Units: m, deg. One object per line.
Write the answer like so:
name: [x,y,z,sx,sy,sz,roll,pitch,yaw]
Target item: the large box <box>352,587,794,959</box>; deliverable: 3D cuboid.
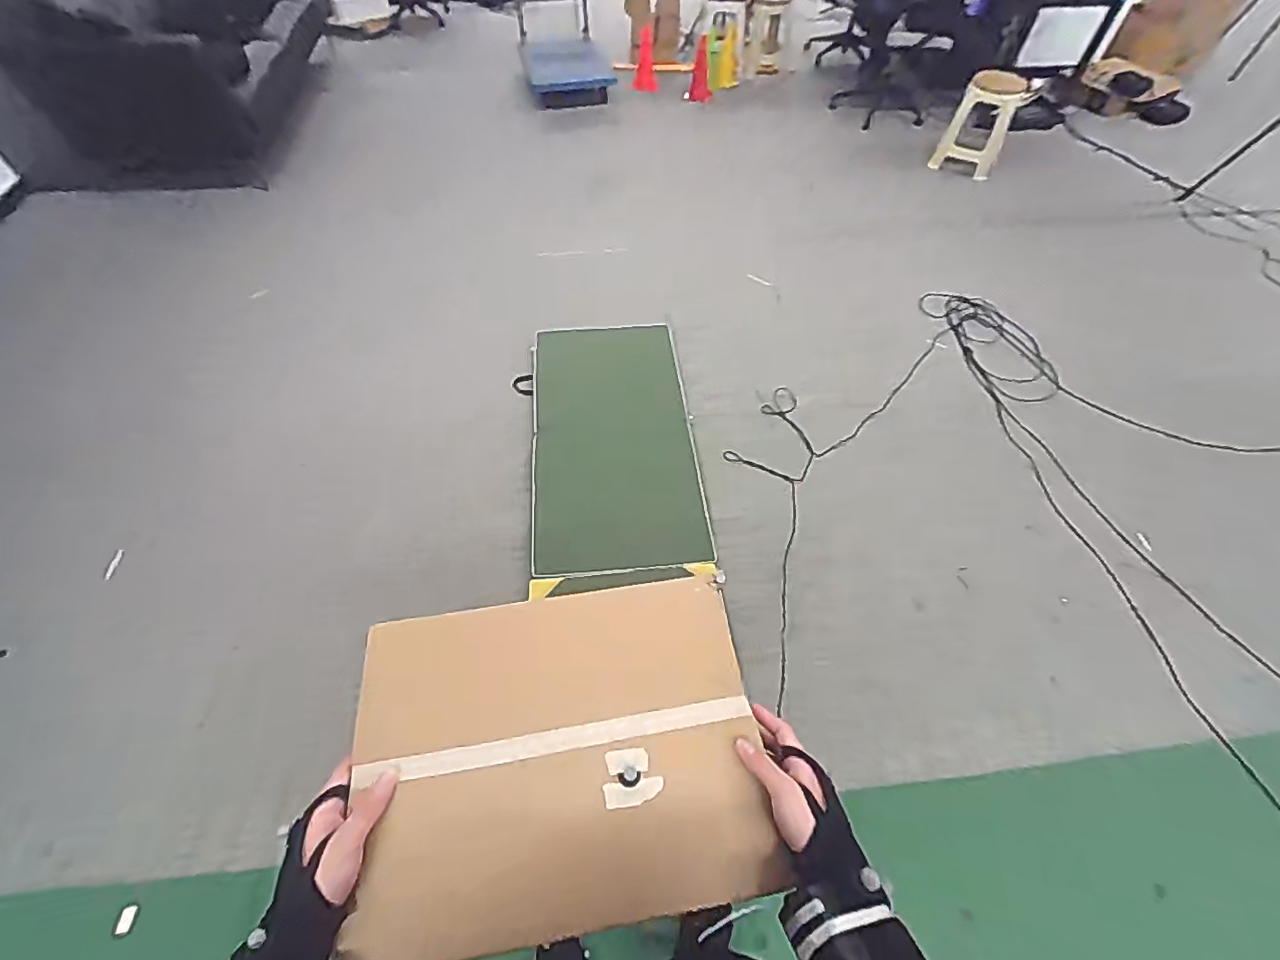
large box: [-0.081,0.367,0.681,0.408,0.320,0.320,-7,55,-7]
